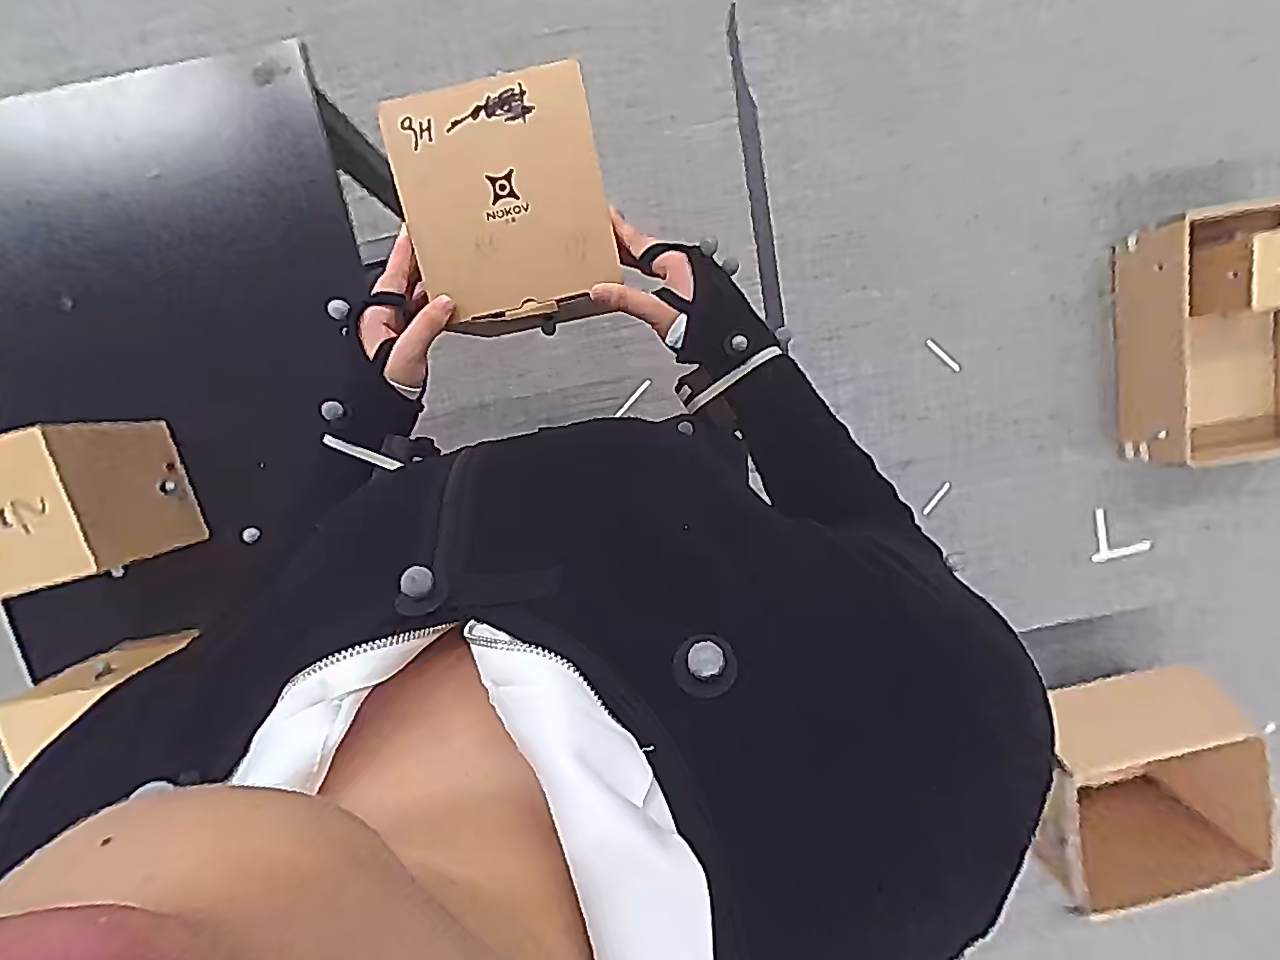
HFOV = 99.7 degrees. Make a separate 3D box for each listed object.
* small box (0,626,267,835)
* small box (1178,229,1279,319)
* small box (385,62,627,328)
[{"bbox_3d":[-0.634,0.307,0.695,0.179,0.176,0.168,-11,98,-1],"label":"small box"},{"bbox_3d":[1.508,-0.513,1.353,0.168,0.176,0.179,-10,99,2],"label":"small box"},{"bbox_3d":[-0.106,-0.245,0.516,0.168,0.176,0.179,-10,103,2],"label":"small box"}]
